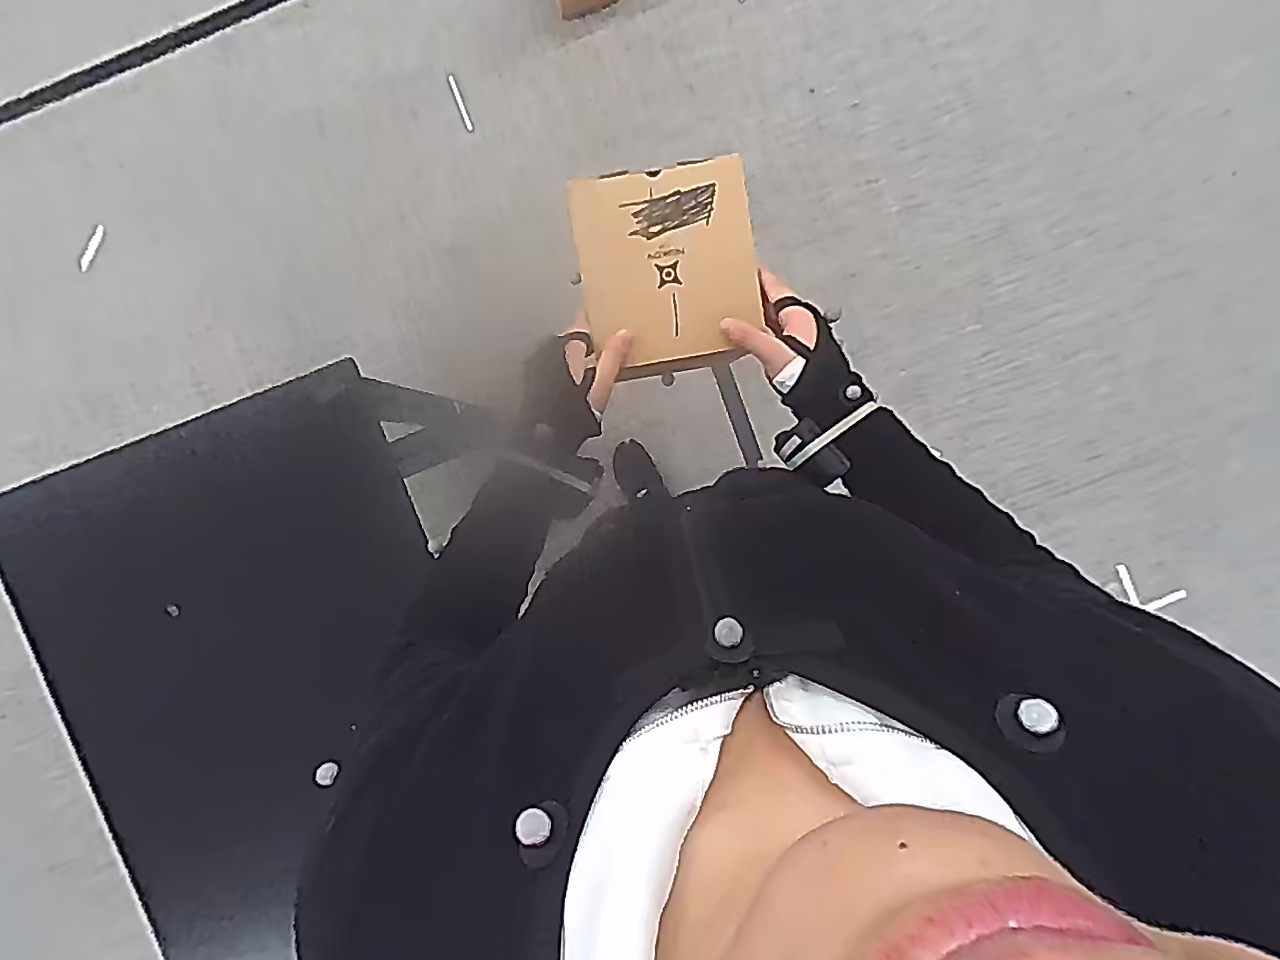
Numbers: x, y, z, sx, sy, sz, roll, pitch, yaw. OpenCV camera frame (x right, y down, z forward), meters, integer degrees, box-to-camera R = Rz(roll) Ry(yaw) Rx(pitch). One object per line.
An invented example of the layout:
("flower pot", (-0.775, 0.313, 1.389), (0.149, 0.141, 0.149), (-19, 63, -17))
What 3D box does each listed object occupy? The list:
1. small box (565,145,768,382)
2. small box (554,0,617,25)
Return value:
("small box", (0.024, -0.213, 0.579), (0.168, 0.176, 0.179), (-12, 95, 1))
("small box", (-0.152, -1.316, 1.362), (0.179, 0.176, 0.168), (-21, 91, 2))
